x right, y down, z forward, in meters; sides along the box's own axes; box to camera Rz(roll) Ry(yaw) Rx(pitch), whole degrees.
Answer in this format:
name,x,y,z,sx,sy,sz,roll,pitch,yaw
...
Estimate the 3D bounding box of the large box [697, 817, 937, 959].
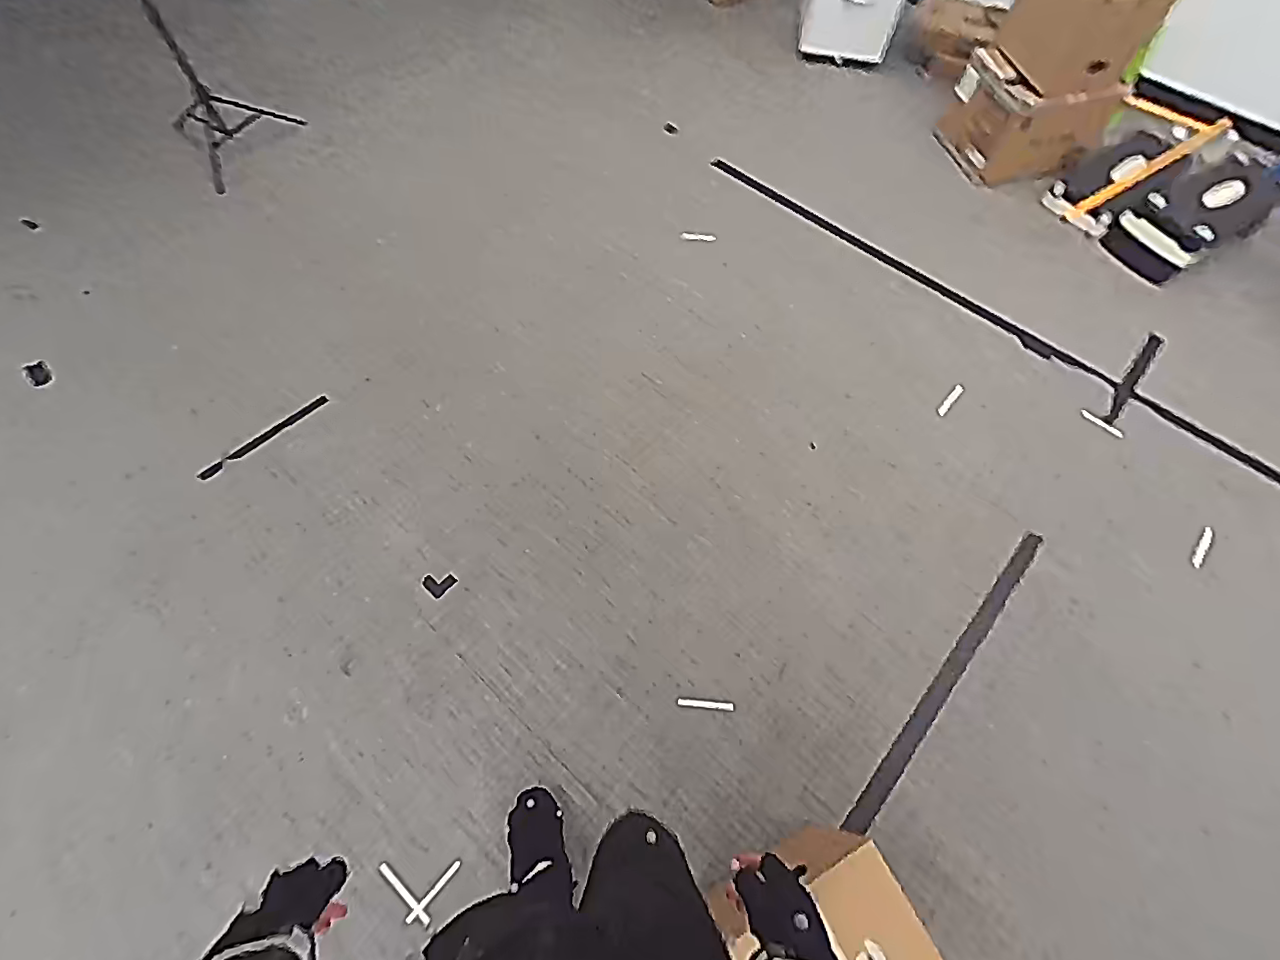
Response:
name,x,y,z,sx,sy,sz,roll,pitch,yaw
large box,0.351,0.923,1.003,0.320,0.320,0.408,-24,66,-15
